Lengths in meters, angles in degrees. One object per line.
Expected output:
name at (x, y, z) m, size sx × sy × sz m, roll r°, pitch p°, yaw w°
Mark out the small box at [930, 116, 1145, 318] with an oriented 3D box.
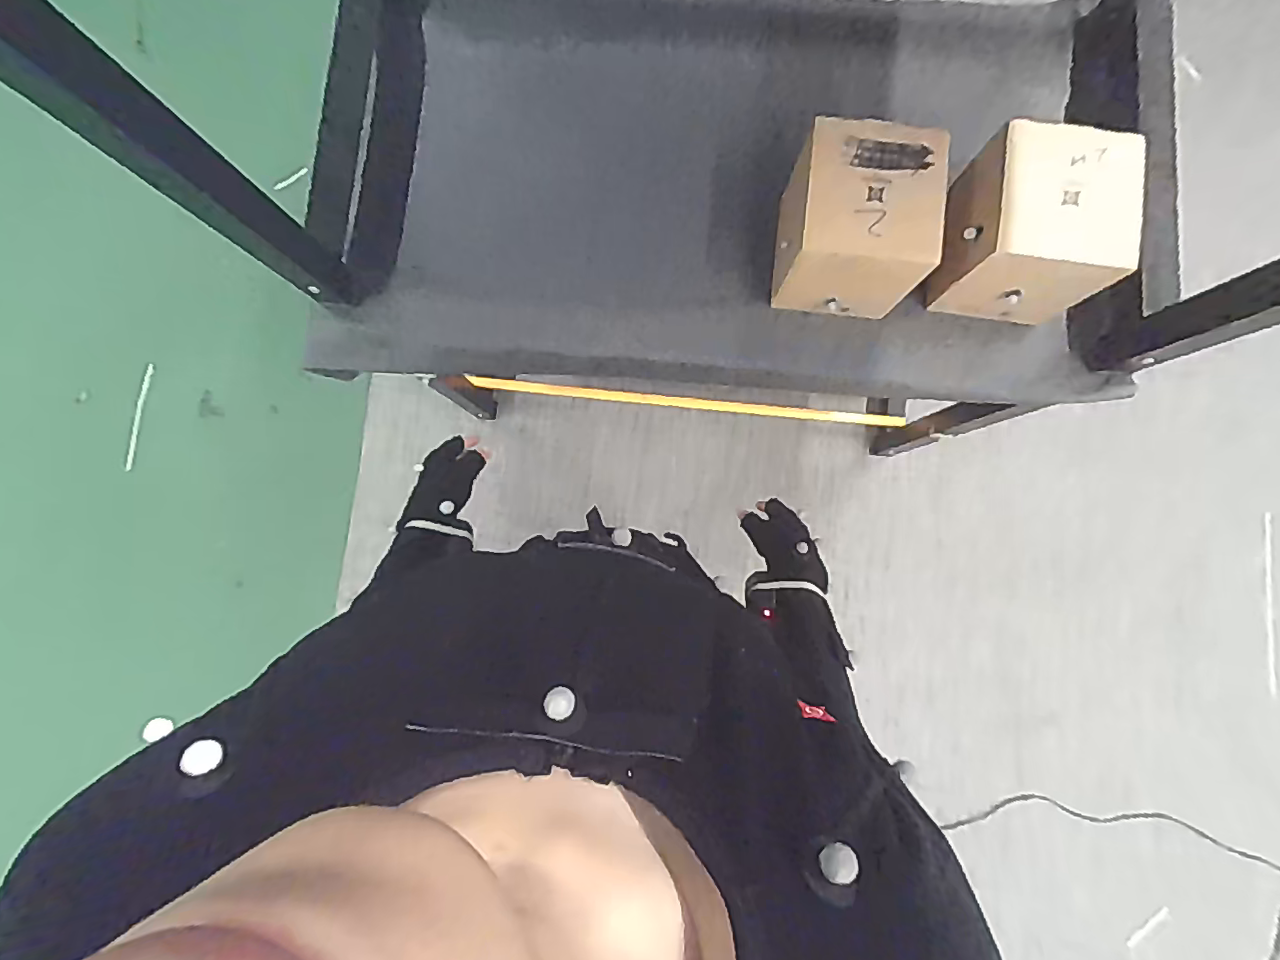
small box at (0.514, -0.337, 0.724) m, size 0.168 × 0.176 × 0.179 m, roll 9°, pitch 84°, yaw 1°
